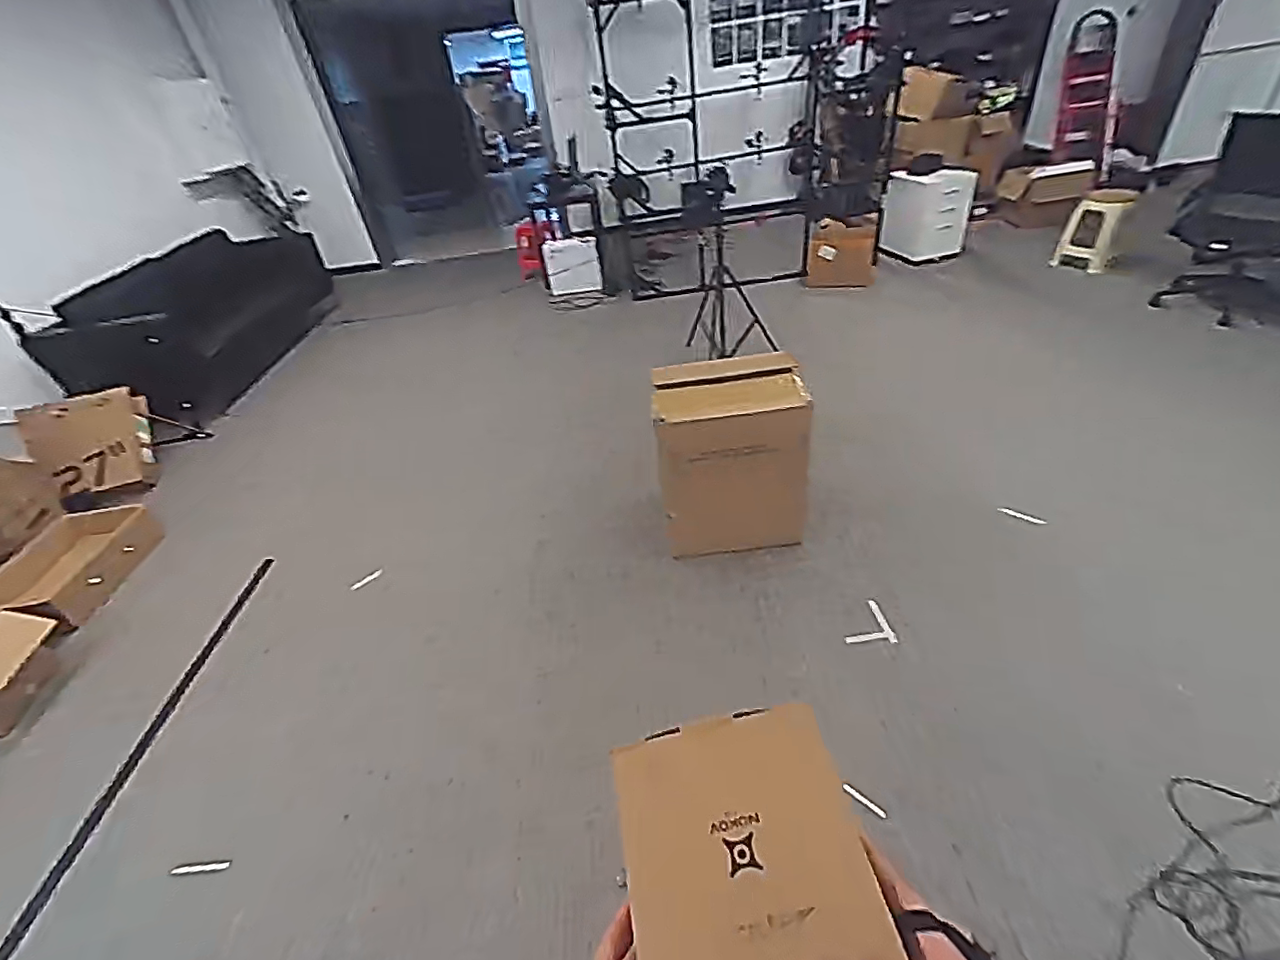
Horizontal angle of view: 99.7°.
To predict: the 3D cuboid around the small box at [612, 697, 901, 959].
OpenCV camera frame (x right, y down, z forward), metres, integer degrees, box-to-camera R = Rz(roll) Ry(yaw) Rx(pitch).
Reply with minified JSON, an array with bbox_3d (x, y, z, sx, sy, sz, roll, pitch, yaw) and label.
[{"bbox_3d":[0.078,0.308,0.440,0.168,0.176,0.179,-13,47,-1],"label":"small box"}]
